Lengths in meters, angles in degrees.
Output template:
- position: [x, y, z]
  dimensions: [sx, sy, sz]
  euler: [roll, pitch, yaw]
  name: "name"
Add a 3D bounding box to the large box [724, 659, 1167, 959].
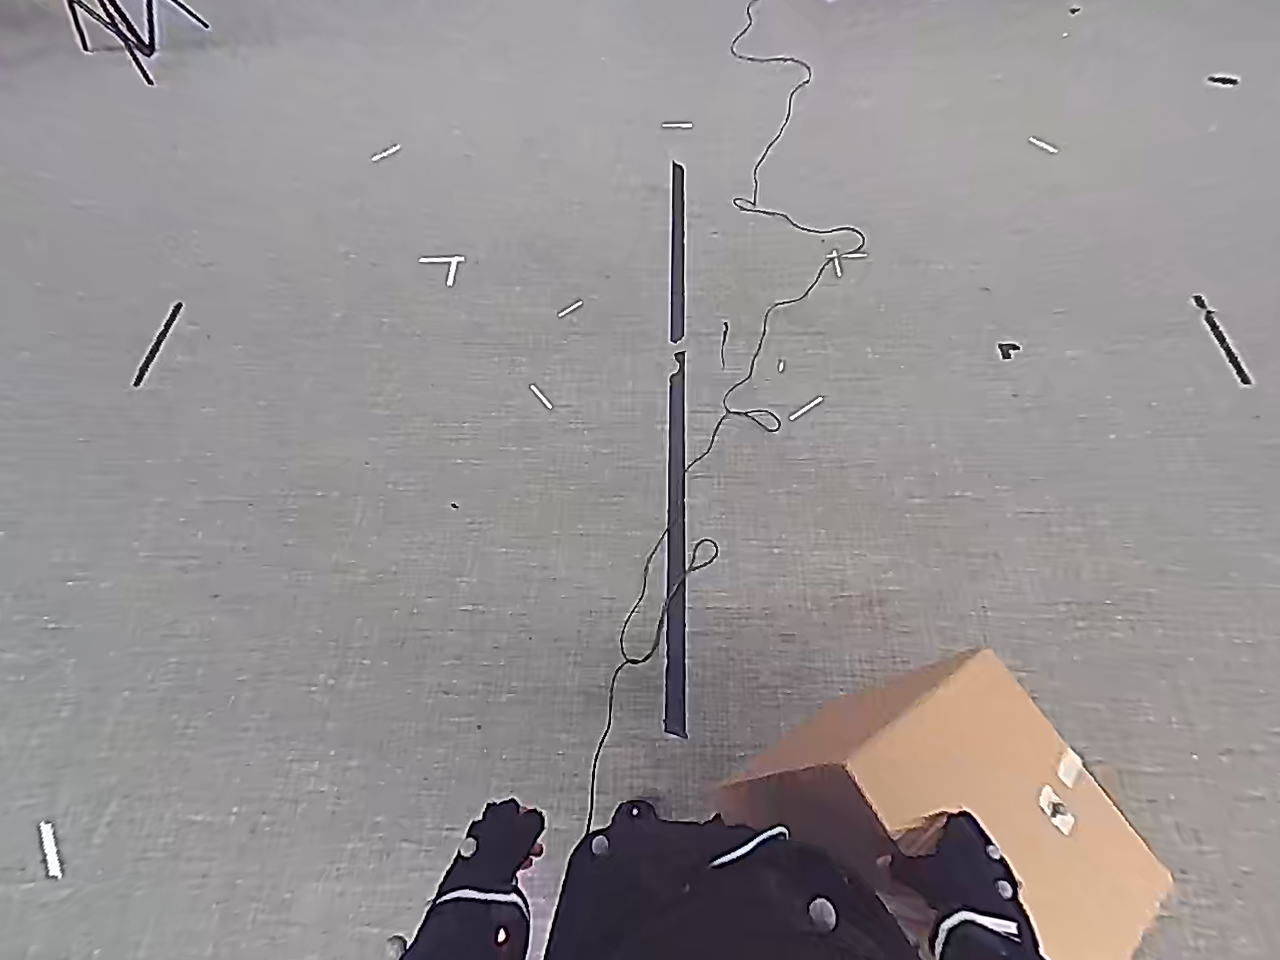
- position: [0.389, 0.513, 0.790]
  dimensions: [0.320, 0.408, 0.320]
  euler: [-17, 64, -26]
  name: "large box"
